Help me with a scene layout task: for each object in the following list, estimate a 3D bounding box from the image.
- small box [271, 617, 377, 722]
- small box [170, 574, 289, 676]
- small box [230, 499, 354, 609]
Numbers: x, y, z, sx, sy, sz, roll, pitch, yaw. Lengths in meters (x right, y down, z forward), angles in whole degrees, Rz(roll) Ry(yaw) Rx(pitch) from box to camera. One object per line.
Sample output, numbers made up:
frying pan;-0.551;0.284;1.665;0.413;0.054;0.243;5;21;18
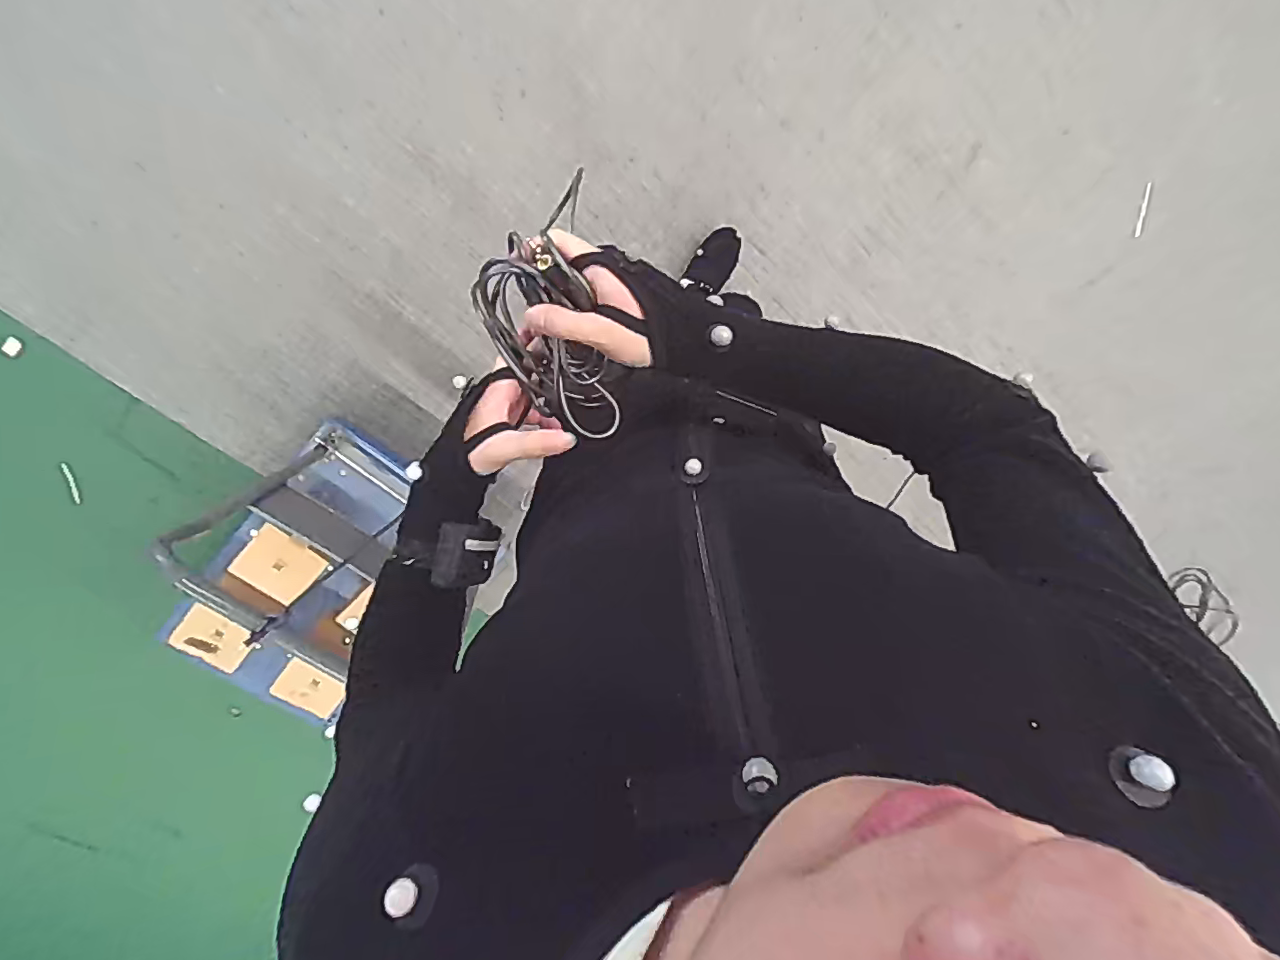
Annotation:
small box;-0.854;0.513;1.485;0.168;0.176;0.179;37;103;-16
small box;-1.048;0.363;1.408;0.168;0.176;0.179;38;102;-18
small box;-0.861;0.181;1.360;0.168;0.176;0.179;41;101;-18
